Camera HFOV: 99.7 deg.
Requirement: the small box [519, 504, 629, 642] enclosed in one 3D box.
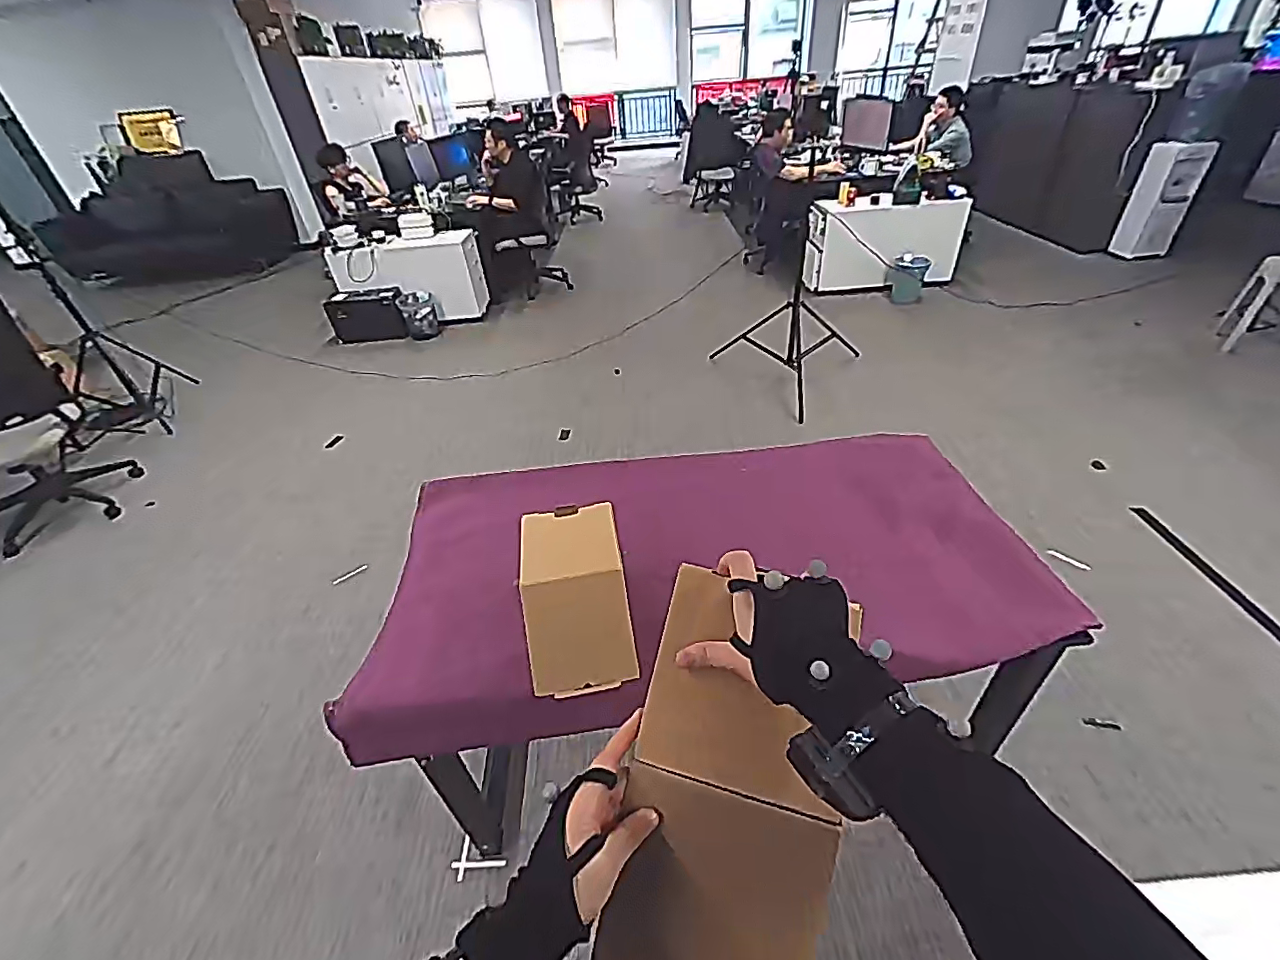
[{"bbox_3d":[-0.116,0.171,0.972,0.168,0.176,0.179,-8,36,-5],"label":"small box"}]
